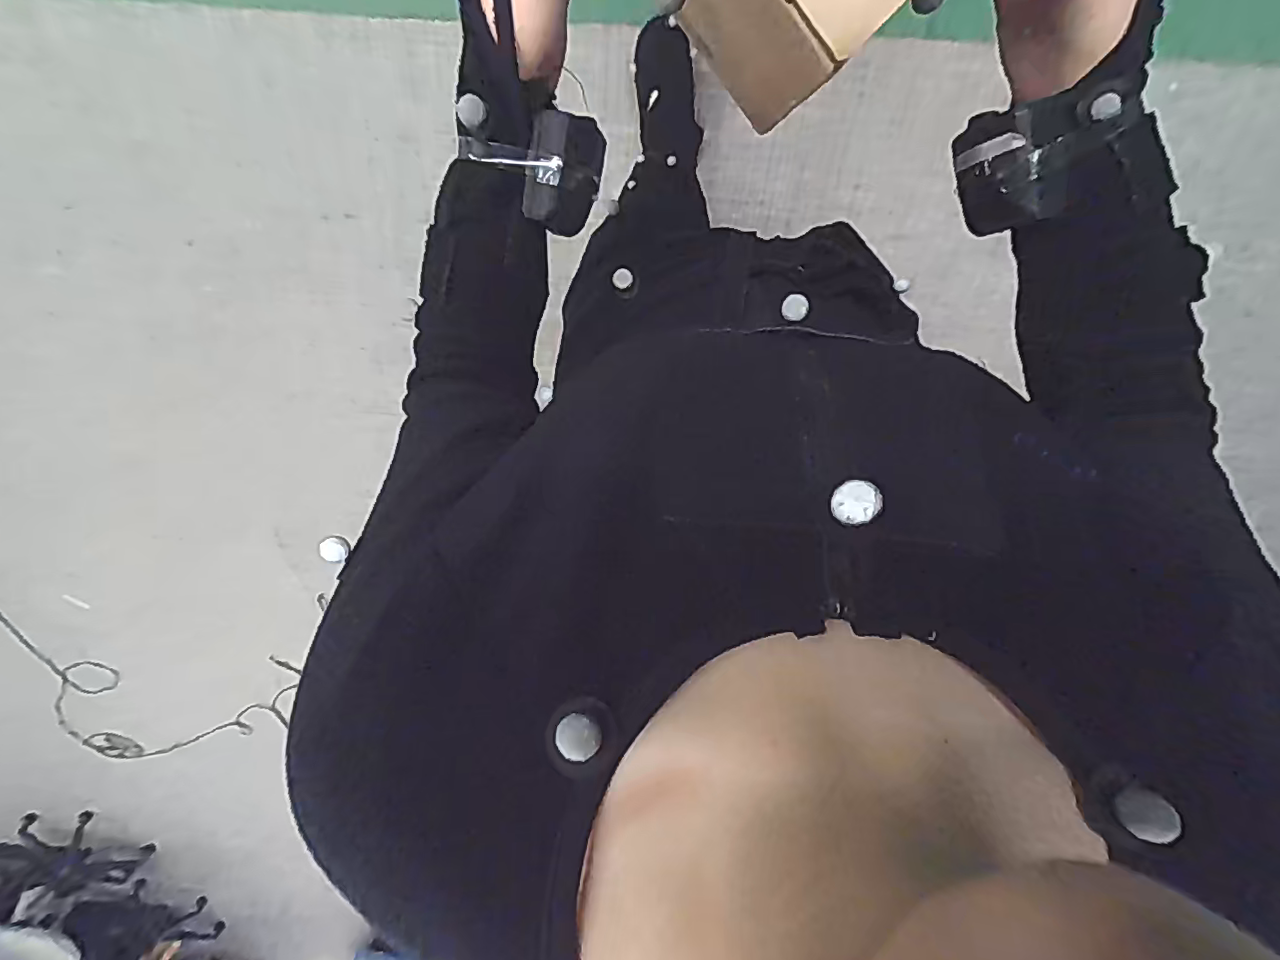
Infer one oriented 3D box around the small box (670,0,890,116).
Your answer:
[{"bbox_3d":[0.081,-0.308,0.243,0.179,0.176,0.168,-40,107,19],"label":"small box"}]
